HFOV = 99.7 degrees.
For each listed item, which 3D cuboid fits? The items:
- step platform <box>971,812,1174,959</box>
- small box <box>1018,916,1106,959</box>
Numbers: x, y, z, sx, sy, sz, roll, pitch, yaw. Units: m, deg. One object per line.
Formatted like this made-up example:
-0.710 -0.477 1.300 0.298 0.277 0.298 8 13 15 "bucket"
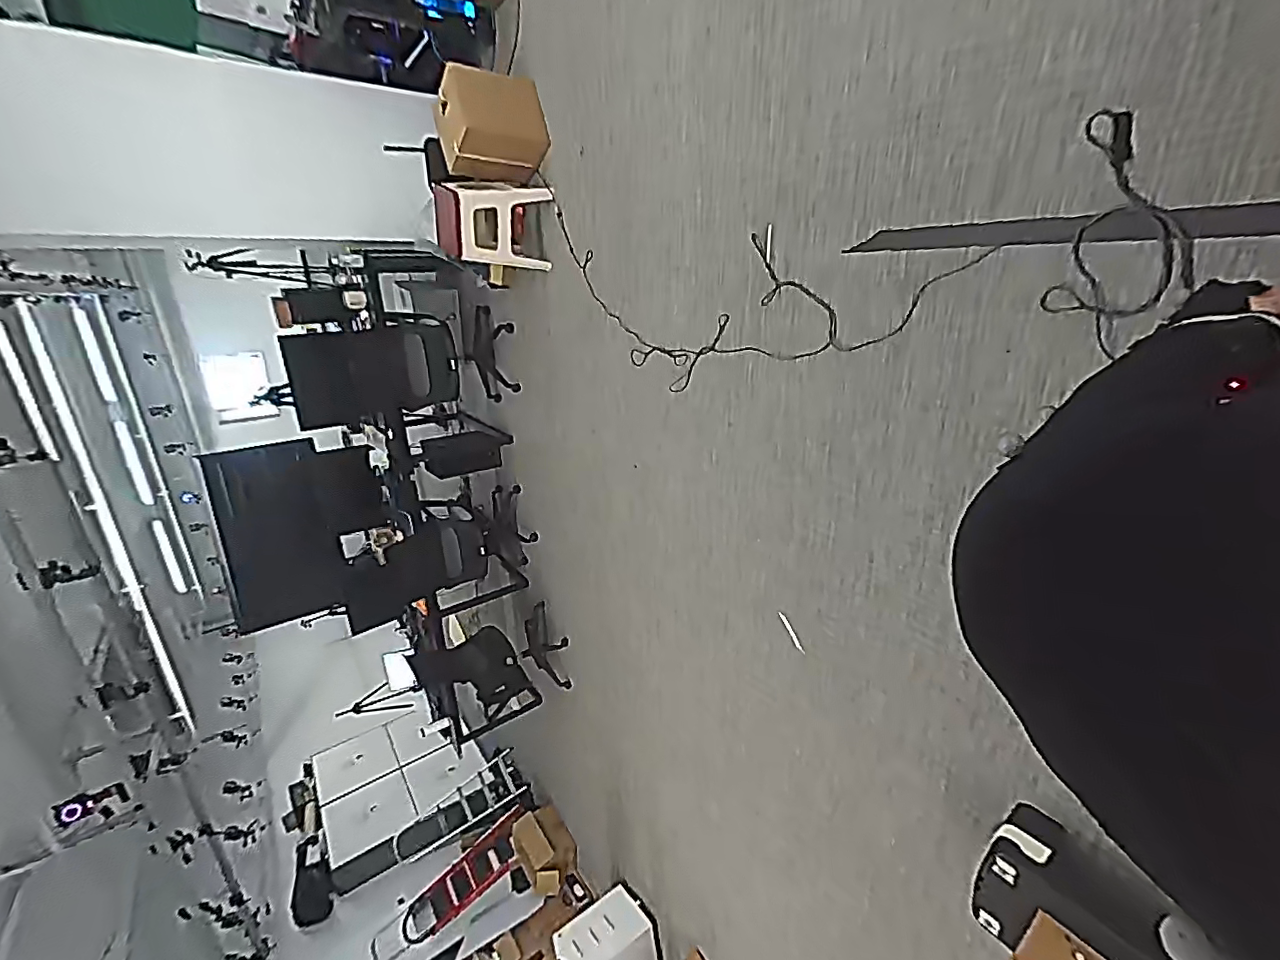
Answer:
1.124 1.109 1.189 0.684 0.204 0.286 24 123 49 "step platform"
0.922 1.118 1.175 0.168 0.176 0.179 27 124 48 "small box"
